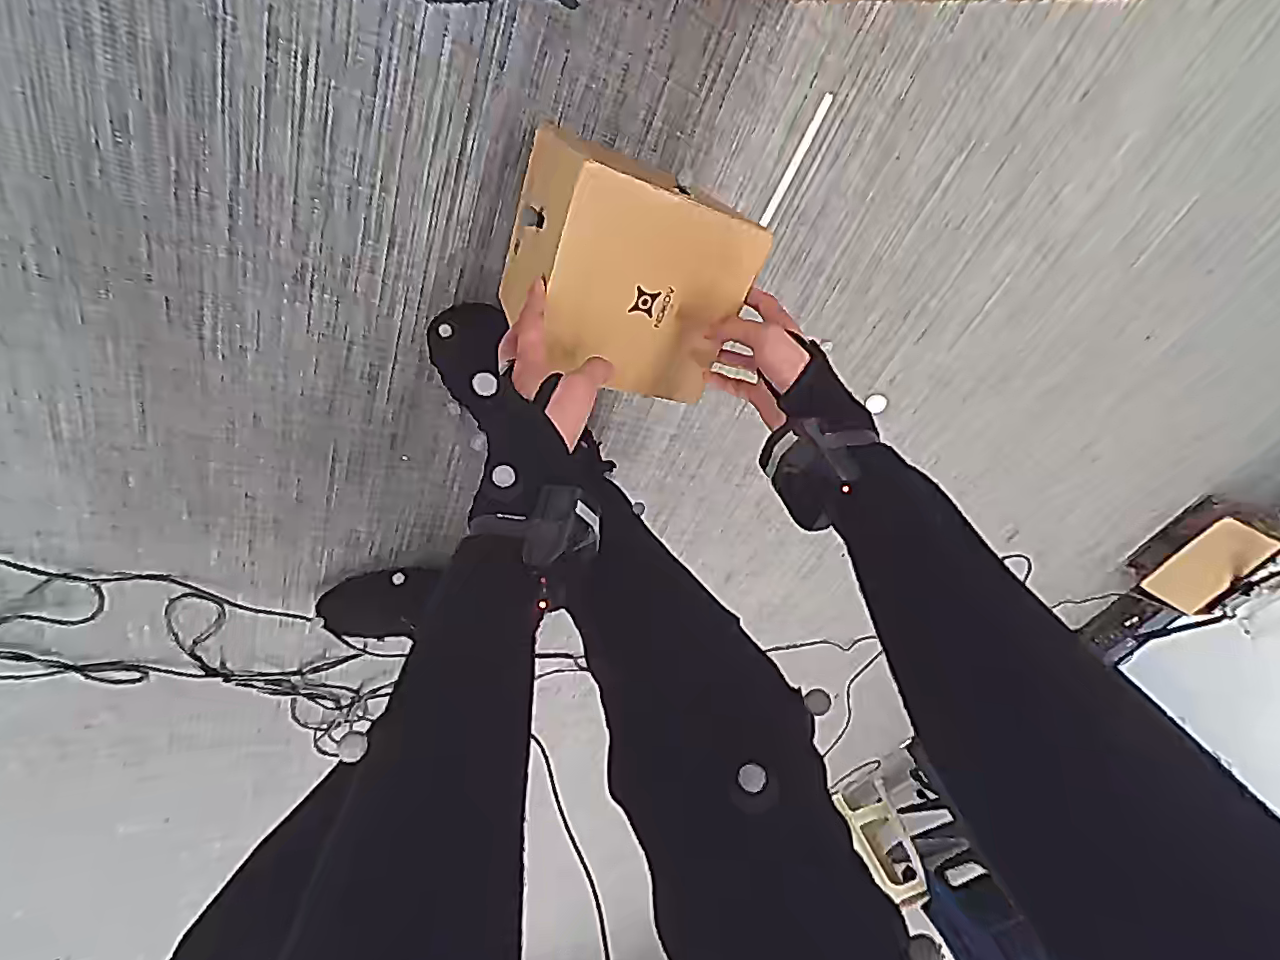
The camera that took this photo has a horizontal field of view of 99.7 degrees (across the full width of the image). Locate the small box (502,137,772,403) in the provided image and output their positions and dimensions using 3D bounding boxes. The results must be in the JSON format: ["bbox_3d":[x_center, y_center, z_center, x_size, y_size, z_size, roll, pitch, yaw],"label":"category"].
[{"bbox_3d":[-0.019,-0.196,0.505,0.179,0.176,0.168,5,126,-29],"label":"small box"}]

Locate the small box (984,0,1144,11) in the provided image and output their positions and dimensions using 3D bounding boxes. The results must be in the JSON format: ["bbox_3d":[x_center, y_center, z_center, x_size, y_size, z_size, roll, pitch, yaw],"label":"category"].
[{"bbox_3d":[0.171,-0.346,0.228,0.179,0.176,0.168,11,123,-30],"label":"small box"}]
